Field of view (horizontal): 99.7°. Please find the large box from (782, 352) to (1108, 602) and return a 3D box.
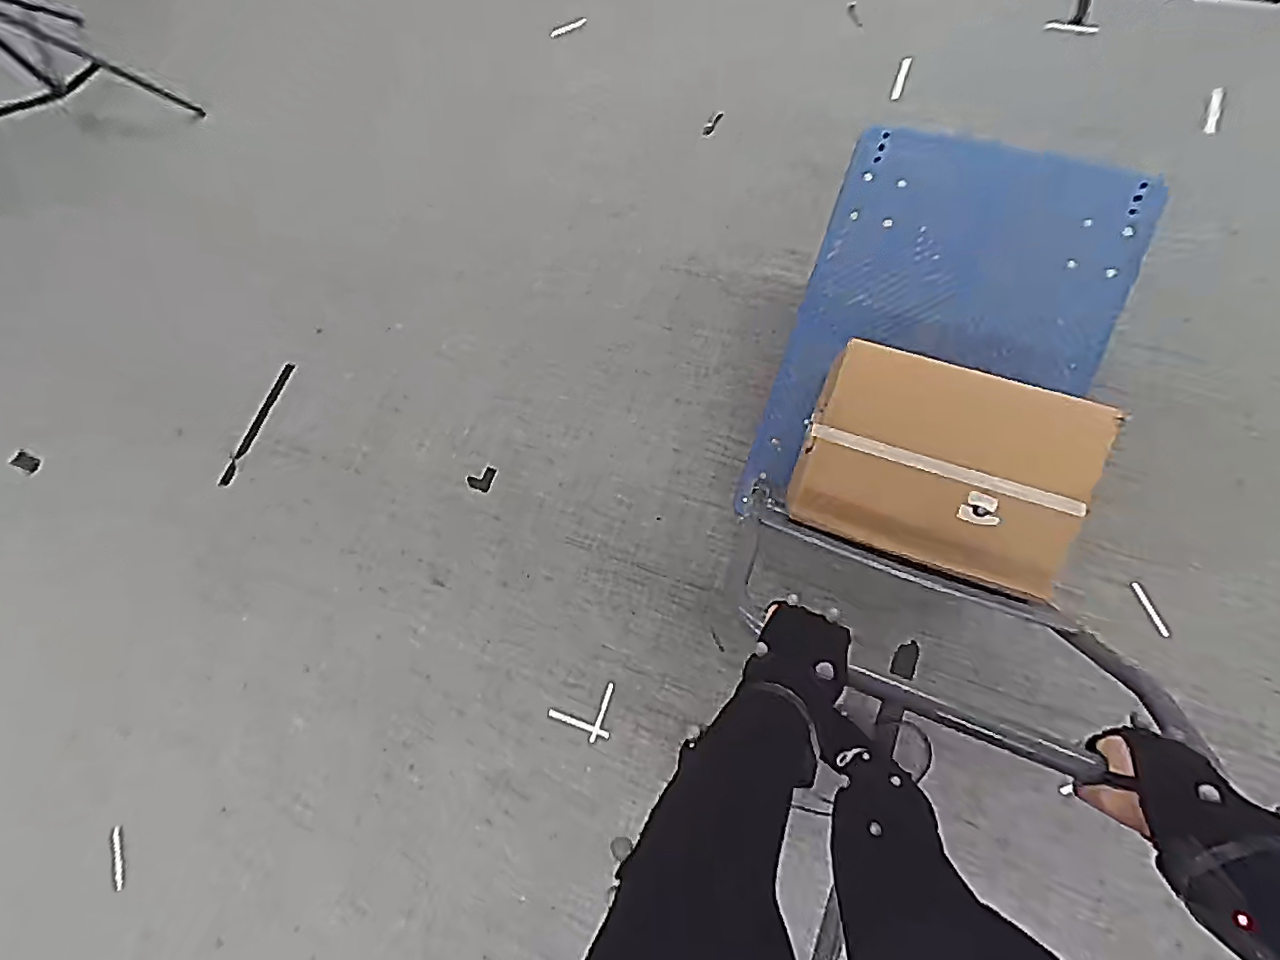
[{"bbox_3d":[0.510,-0.016,1.012,0.408,0.320,0.320,19,97,11],"label":"large box"}]
